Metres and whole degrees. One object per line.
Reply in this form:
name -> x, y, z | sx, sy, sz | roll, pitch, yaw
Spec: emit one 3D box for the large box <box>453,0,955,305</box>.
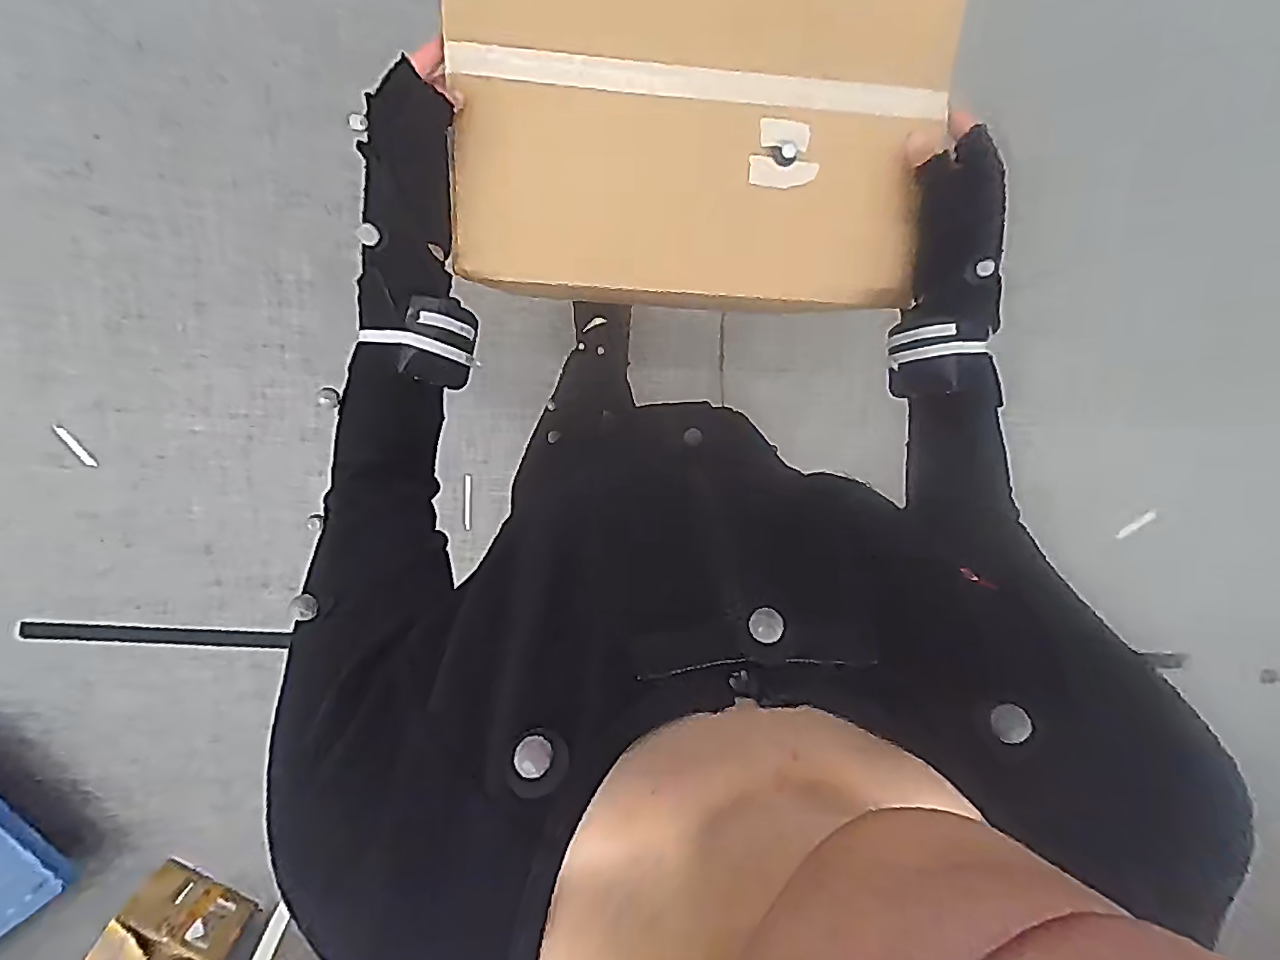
large box -> 0.039, -0.362, 0.578 | 0.408, 0.320, 0.320 | 1, 106, -6
